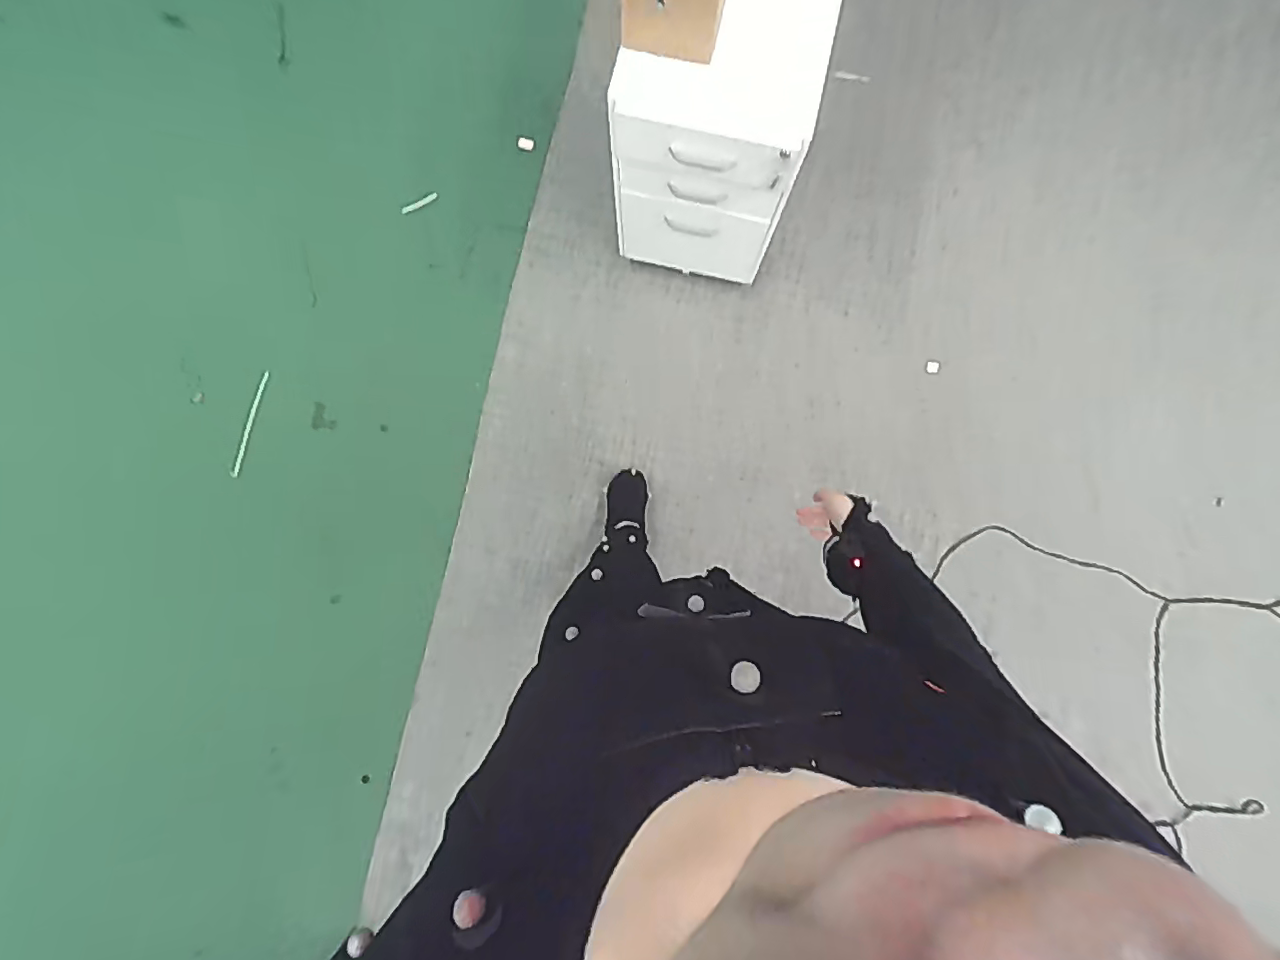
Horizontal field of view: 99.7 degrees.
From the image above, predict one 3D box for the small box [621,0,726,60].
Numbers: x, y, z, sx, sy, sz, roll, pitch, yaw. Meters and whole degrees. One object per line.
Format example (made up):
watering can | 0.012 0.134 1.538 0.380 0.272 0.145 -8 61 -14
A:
small box | 0.065 -0.891 0.953 0.179 0.176 0.168 12 83 2
